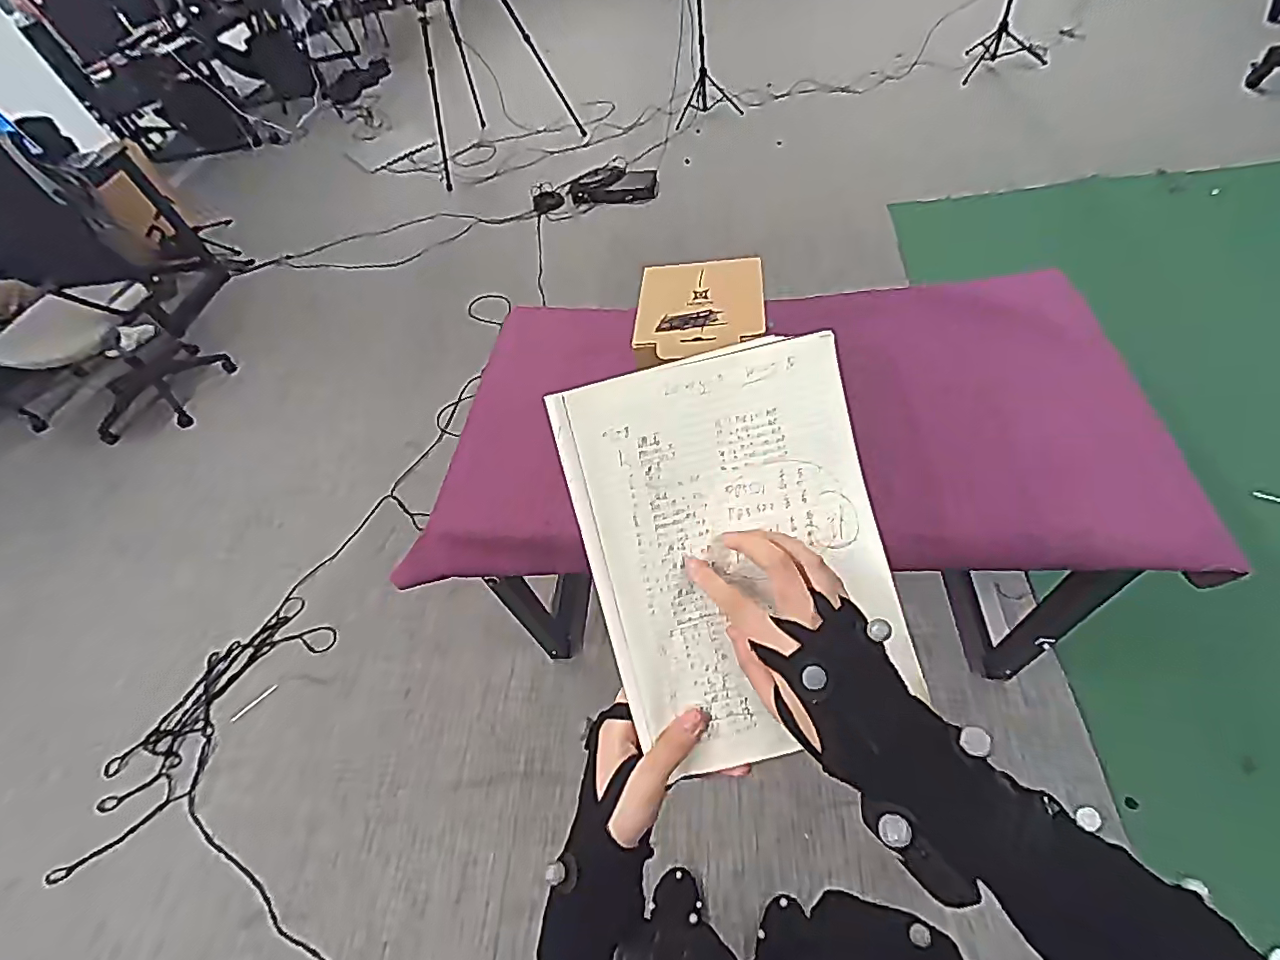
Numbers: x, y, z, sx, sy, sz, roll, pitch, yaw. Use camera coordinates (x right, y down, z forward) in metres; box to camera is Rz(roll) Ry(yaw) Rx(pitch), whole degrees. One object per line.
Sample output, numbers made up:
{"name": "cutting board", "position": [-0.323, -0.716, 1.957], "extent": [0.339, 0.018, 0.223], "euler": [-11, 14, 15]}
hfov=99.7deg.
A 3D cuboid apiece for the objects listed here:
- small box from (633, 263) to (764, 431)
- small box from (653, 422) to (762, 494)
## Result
{"name": "small box", "position": [0.094, -0.183, 0.779], "extent": [0.168, 0.176, 0.179], "euler": [-1, 52, 11]}
{"name": "small box", "position": [0.121, -0.089, 0.912], "extent": [0.168, 0.176, 0.179], "euler": [-1, 54, 11]}
